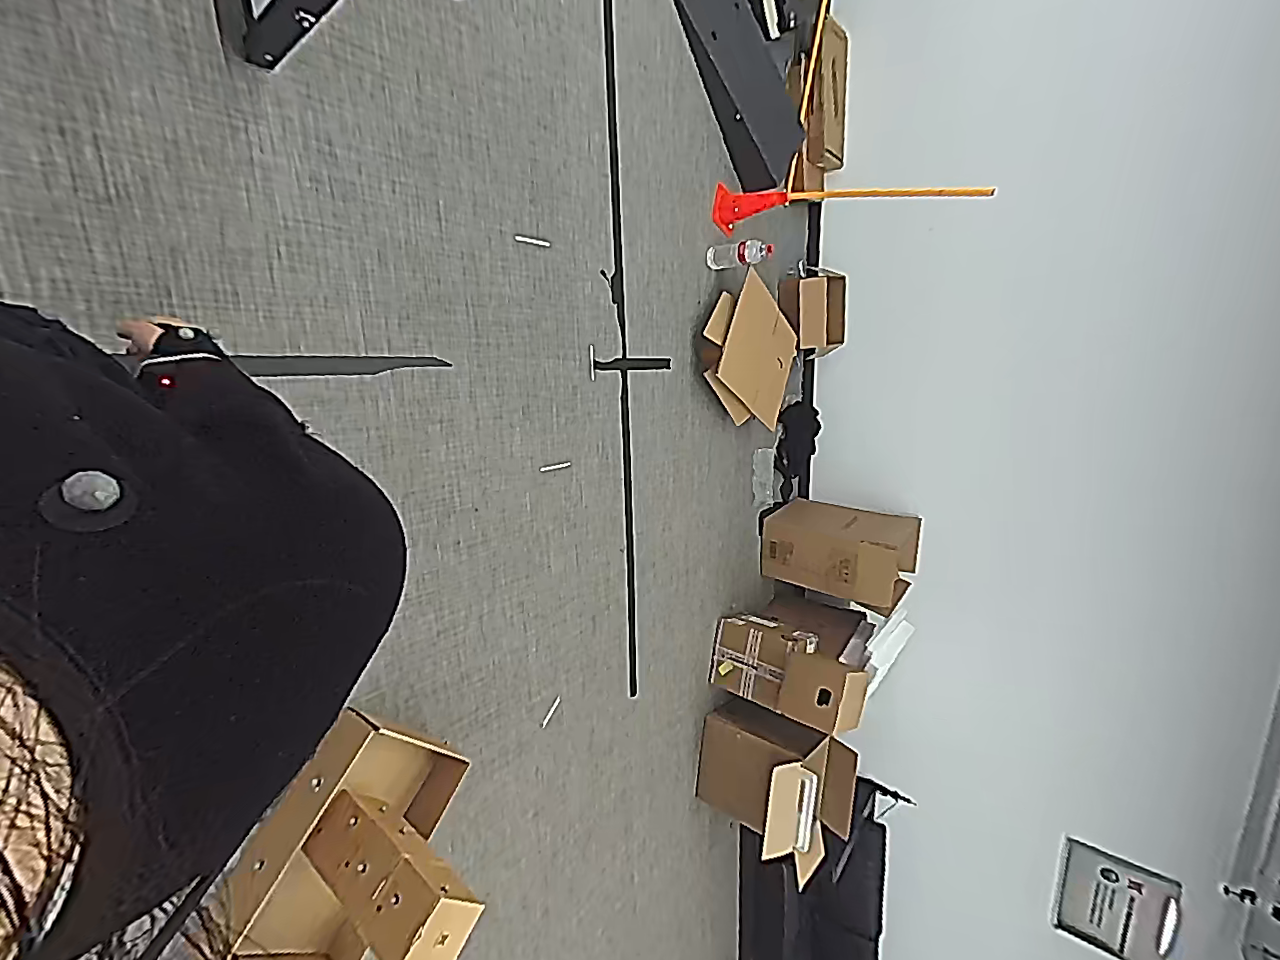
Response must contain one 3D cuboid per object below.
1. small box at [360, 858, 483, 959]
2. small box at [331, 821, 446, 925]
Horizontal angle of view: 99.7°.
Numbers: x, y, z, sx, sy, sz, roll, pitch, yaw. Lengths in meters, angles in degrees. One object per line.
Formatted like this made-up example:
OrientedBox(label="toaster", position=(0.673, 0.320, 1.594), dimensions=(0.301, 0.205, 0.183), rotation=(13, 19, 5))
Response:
OrientedBox(label="small box", position=(-0.524, 1.050, 1.302), dimensions=(0.168, 0.176, 0.179), rotation=(-59, 137, -25))
OrientedBox(label="small box", position=(-0.652, 1.019, 1.399), dimensions=(0.168, 0.176, 0.179), rotation=(-58, 137, -26))
